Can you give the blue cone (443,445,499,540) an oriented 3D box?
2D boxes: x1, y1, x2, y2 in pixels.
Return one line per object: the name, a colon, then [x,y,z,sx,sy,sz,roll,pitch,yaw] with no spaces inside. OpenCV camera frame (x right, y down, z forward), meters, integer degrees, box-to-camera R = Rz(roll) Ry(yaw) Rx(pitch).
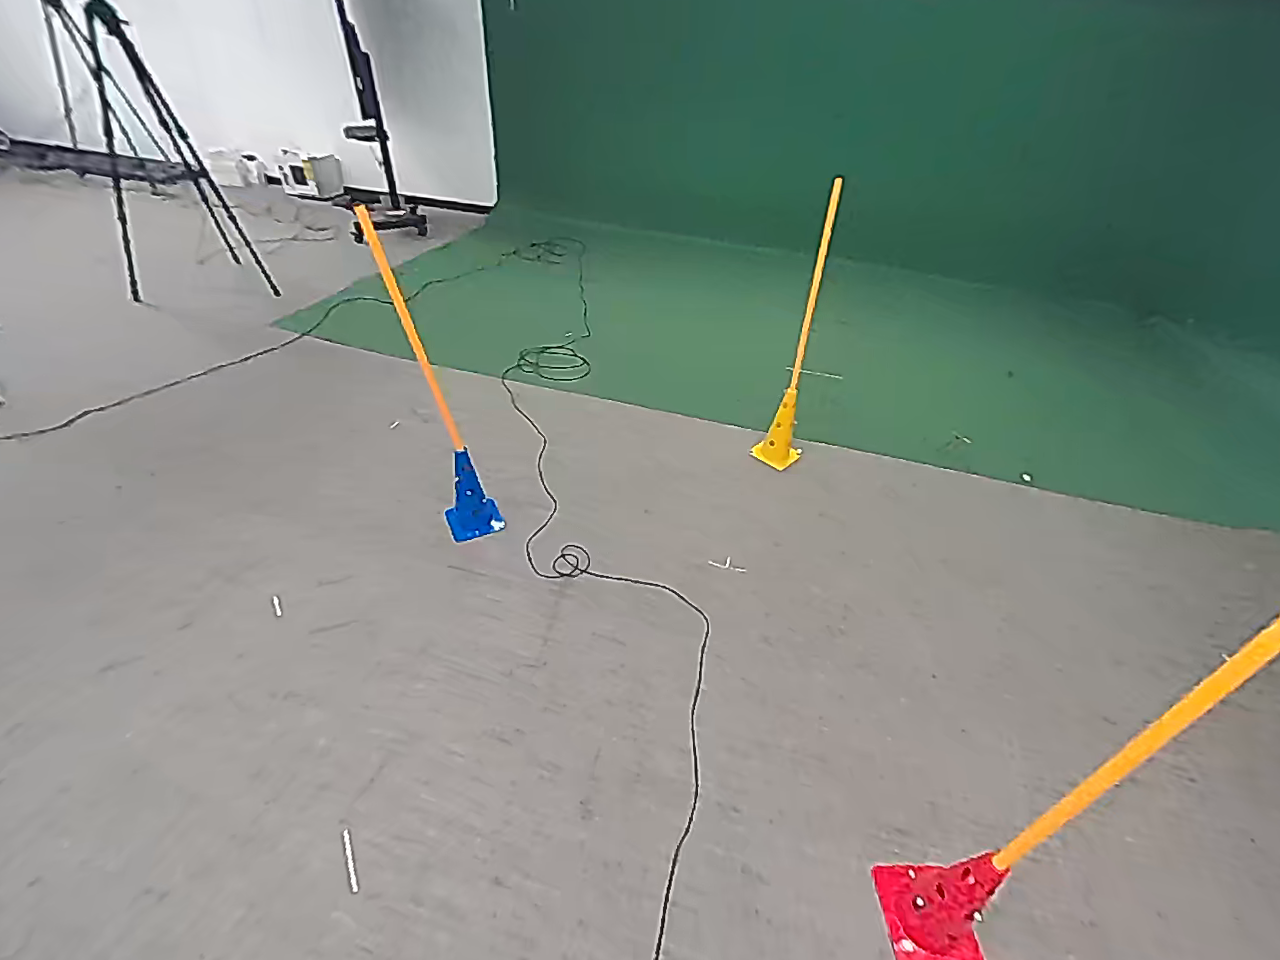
blue cone: [-0.662,0.032,2.044,0.193,0.380,0.192,-18,45,-24]
